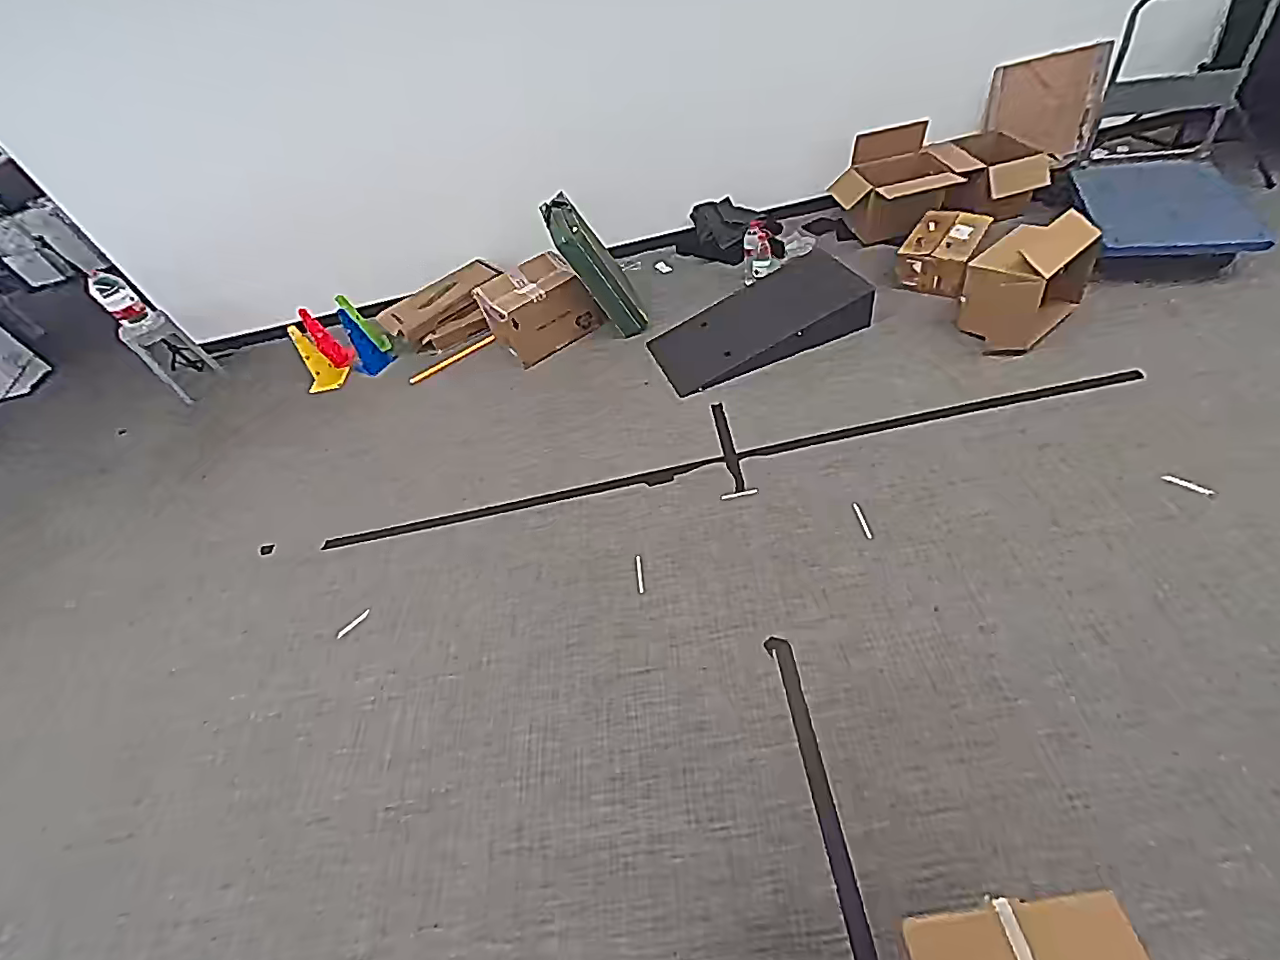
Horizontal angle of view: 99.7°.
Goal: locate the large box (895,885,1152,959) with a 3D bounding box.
[{"bbox_3d":[0.630,0.888,0.816,0.320,0.320,0.408,-17,49,9],"label":"large box"}]
